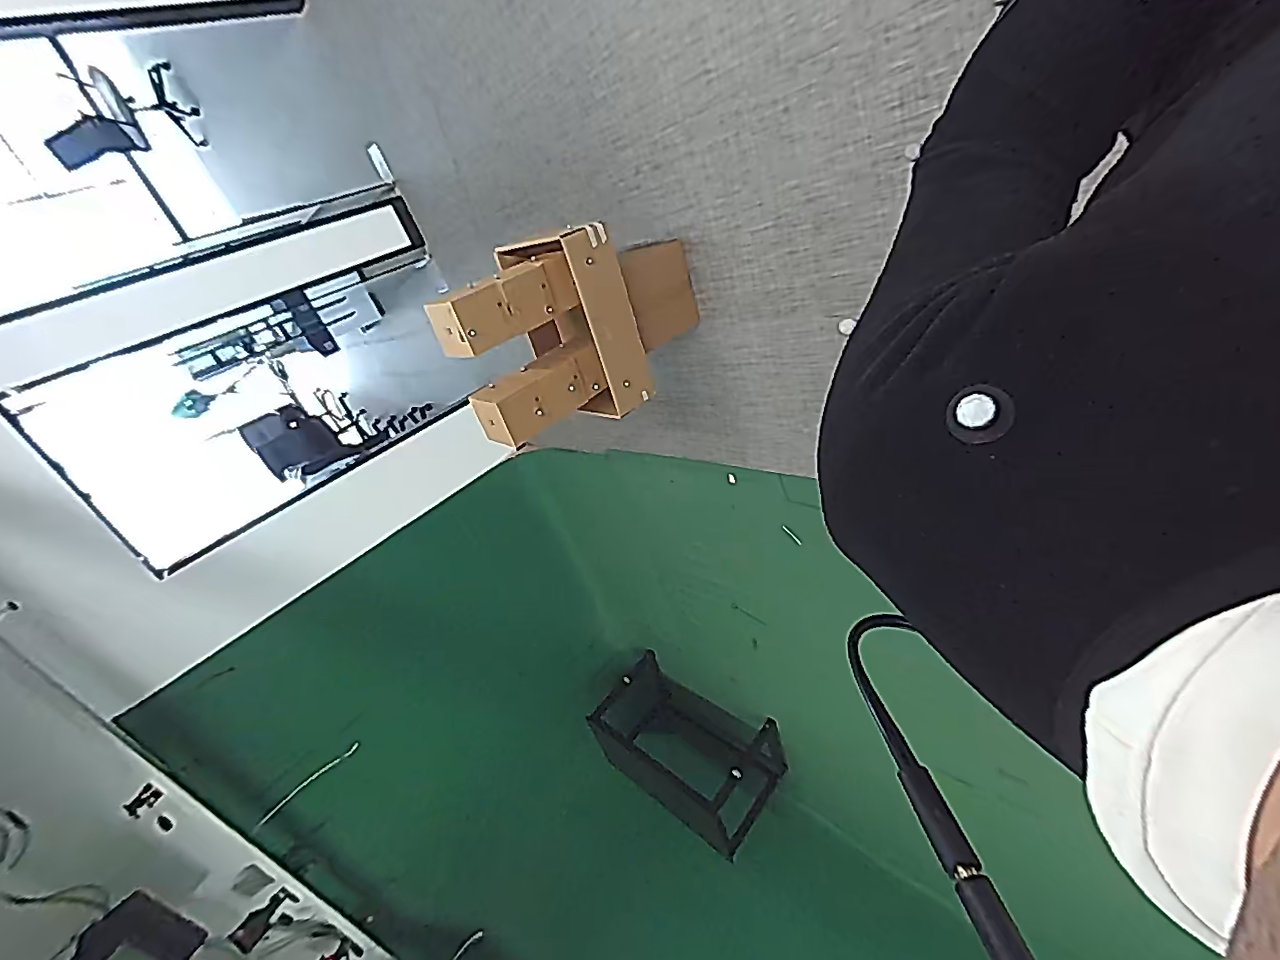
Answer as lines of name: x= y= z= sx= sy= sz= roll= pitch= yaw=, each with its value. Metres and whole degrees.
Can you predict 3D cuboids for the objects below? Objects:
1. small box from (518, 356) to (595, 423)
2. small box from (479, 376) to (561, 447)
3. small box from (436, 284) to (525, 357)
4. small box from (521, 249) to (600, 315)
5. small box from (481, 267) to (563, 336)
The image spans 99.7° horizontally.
small box: x=-0.286 y=-0.320 z=1.880 sx=0.179 sy=0.176 sz=0.168 roll=17 pitch=136 yaw=42
small box: x=-0.395 y=-0.233 z=1.795 sx=0.179 sy=0.176 sz=0.168 roll=17 pitch=136 yaw=43
small box: x=-0.481 y=-0.485 z=1.646 sx=0.179 sy=0.176 sz=0.168 roll=14 pitch=133 yaw=45
small box: x=-0.264 y=-0.663 z=1.817 sx=0.179 sy=0.176 sz=0.168 roll=14 pitch=133 yaw=43
small box: x=-0.368 y=-0.571 z=1.728 sx=0.179 sy=0.176 sz=0.168 roll=17 pitch=134 yaw=43
